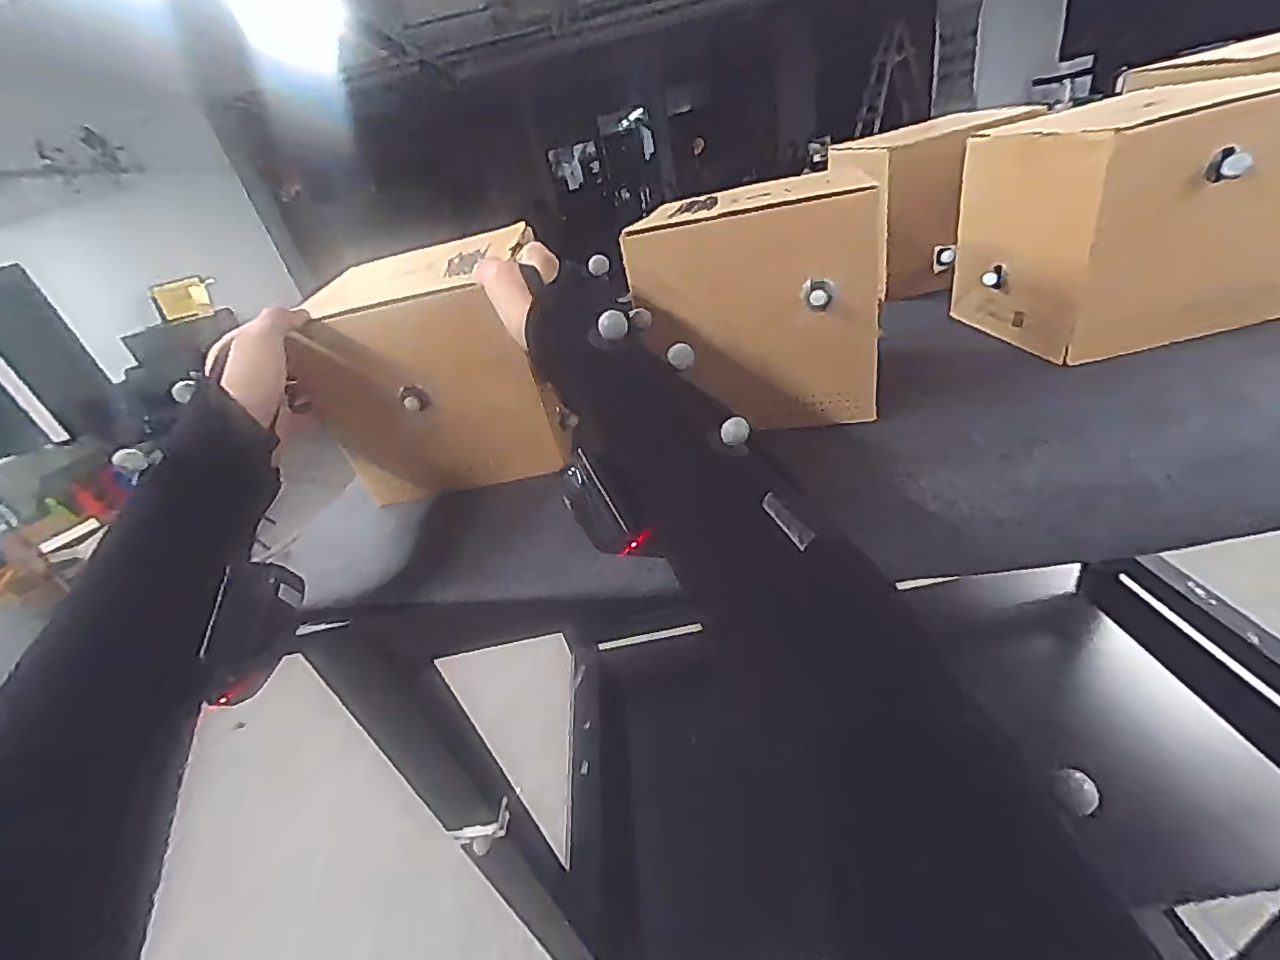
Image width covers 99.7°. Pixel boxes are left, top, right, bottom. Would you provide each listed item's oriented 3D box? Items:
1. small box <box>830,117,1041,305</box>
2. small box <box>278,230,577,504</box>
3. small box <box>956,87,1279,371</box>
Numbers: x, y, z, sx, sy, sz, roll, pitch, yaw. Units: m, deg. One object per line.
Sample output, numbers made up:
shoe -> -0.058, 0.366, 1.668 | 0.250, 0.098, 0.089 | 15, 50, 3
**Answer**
small box -> 0.348, -0.332, 0.676 | 0.168, 0.176, 0.179 | -13, 32, 3
small box -> -0.162, -0.101, 0.488 | 0.179, 0.176, 0.168 | -11, 36, 5
small box -> 0.402, -0.212, 0.460 | 0.179, 0.176, 0.168 | -13, 31, 3
